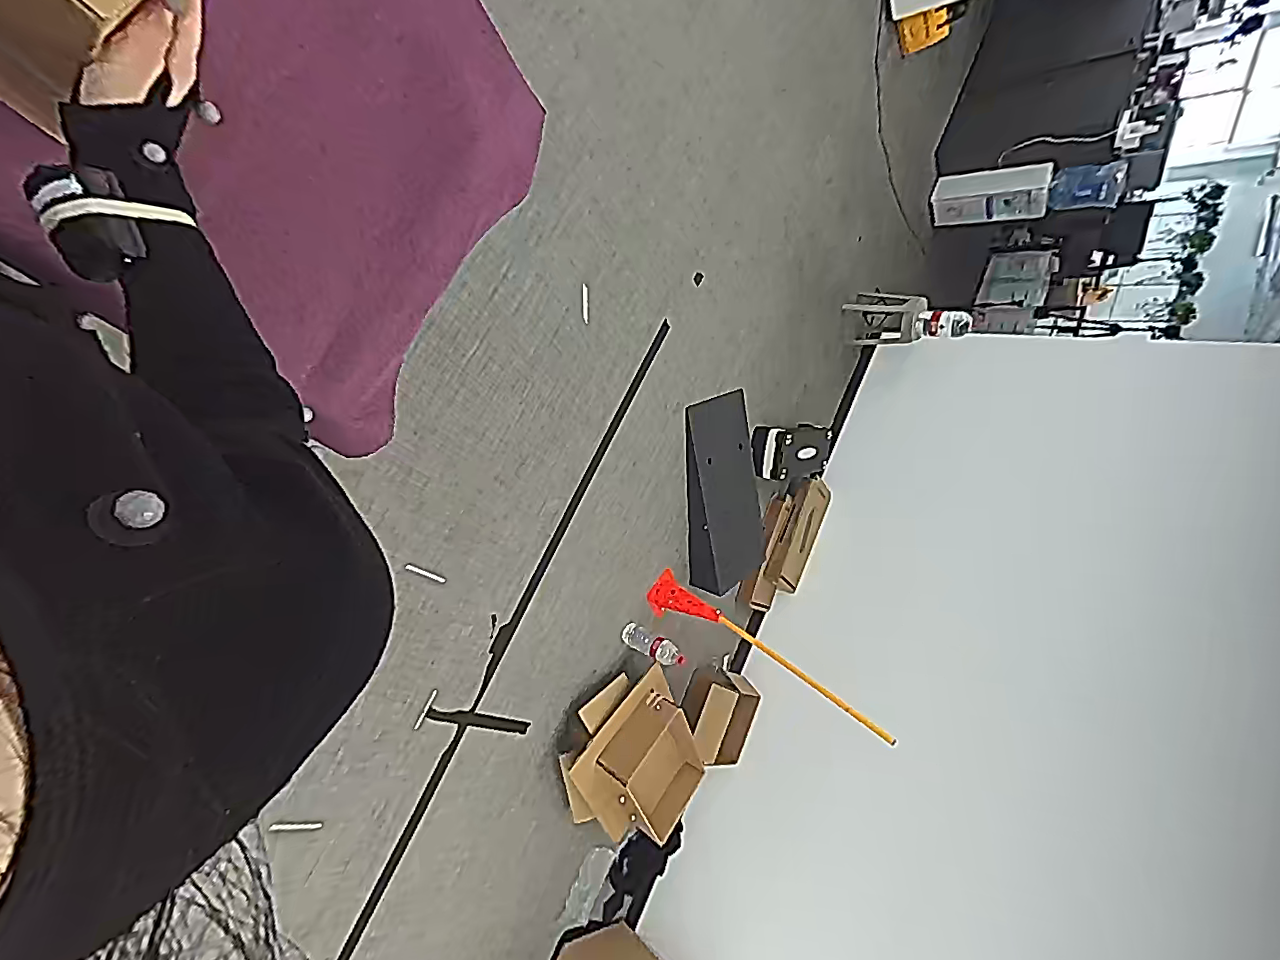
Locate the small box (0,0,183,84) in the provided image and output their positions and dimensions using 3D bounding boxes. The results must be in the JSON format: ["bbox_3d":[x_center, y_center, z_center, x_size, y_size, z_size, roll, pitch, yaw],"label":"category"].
[{"bbox_3d":[-0.369,-0.388,0.326,0.168,0.176,0.179,42,70,-48],"label":"small box"}]

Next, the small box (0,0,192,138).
[{"bbox_3d":[-0.495,-0.414,0.429,0.168,0.176,0.179,41,70,-48],"label":"small box"}]
